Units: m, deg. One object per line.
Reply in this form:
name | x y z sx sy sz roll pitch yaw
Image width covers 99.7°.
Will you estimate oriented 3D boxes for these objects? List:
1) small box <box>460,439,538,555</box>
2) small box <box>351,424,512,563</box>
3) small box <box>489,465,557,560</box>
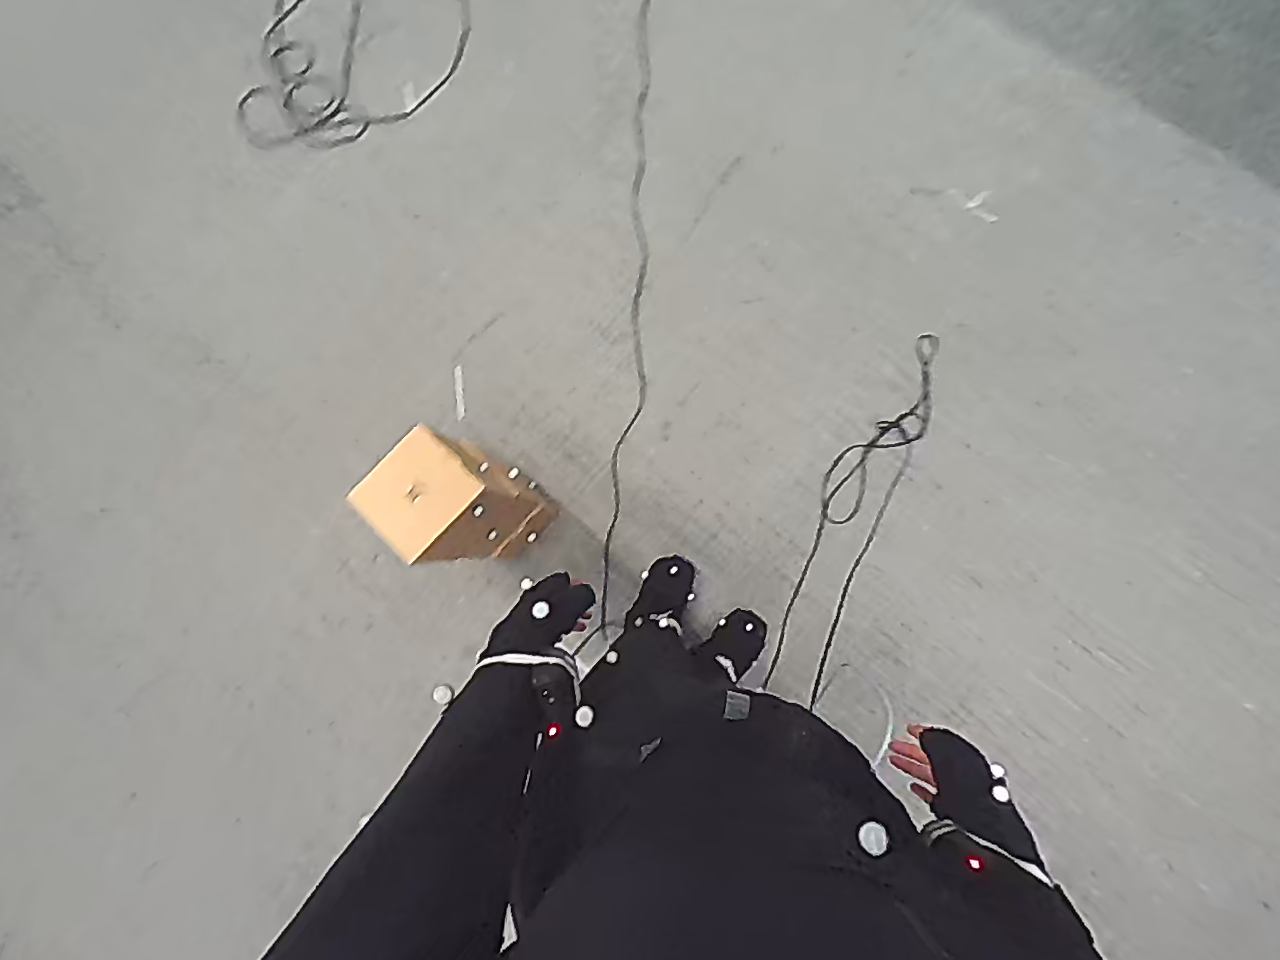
small box | -0.341 0.045 1.132 0.168 0.176 0.179 43 87 8
small box | -0.360 0.032 0.971 0.168 0.176 0.179 43 87 9
small box | -0.323 0.070 1.294 0.179 0.176 0.168 43 88 8
